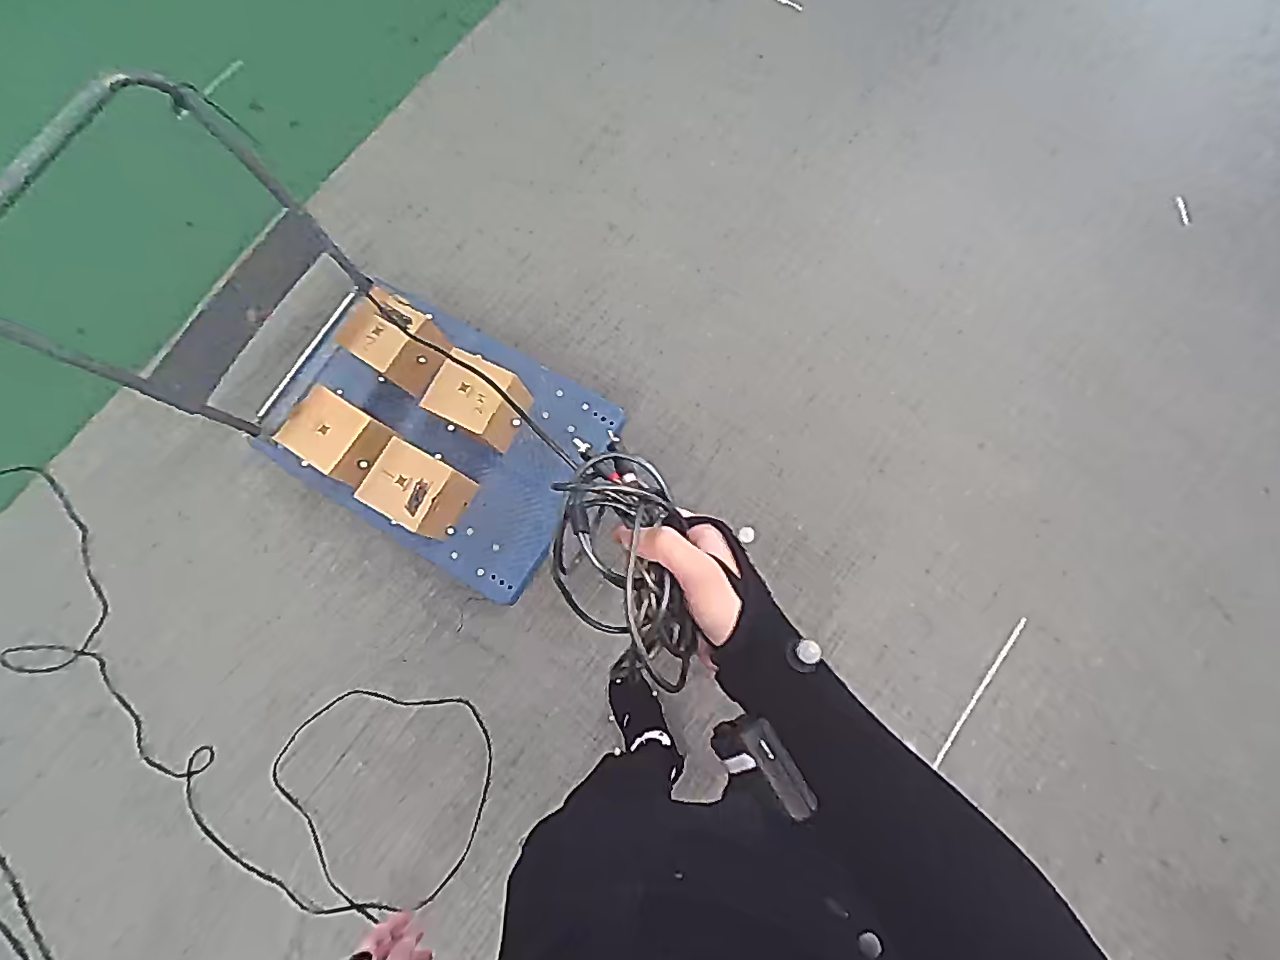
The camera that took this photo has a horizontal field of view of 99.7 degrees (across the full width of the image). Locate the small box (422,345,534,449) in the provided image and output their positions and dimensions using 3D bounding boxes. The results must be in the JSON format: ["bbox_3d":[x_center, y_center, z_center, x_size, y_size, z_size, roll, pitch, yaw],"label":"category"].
[{"bbox_3d":[-0.389,-0.195,1.327,0.179,0.176,0.168,26,81,10],"label":"small box"}]

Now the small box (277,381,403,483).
[{"bbox_3d":[-0.727,-0.108,1.333,0.179,0.176,0.168,31,80,11],"label":"small box"}]

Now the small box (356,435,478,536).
[{"bbox_3d":[-0.518,0.020,1.286,0.179,0.176,0.168,28,80,11],"label":"small box"}]
